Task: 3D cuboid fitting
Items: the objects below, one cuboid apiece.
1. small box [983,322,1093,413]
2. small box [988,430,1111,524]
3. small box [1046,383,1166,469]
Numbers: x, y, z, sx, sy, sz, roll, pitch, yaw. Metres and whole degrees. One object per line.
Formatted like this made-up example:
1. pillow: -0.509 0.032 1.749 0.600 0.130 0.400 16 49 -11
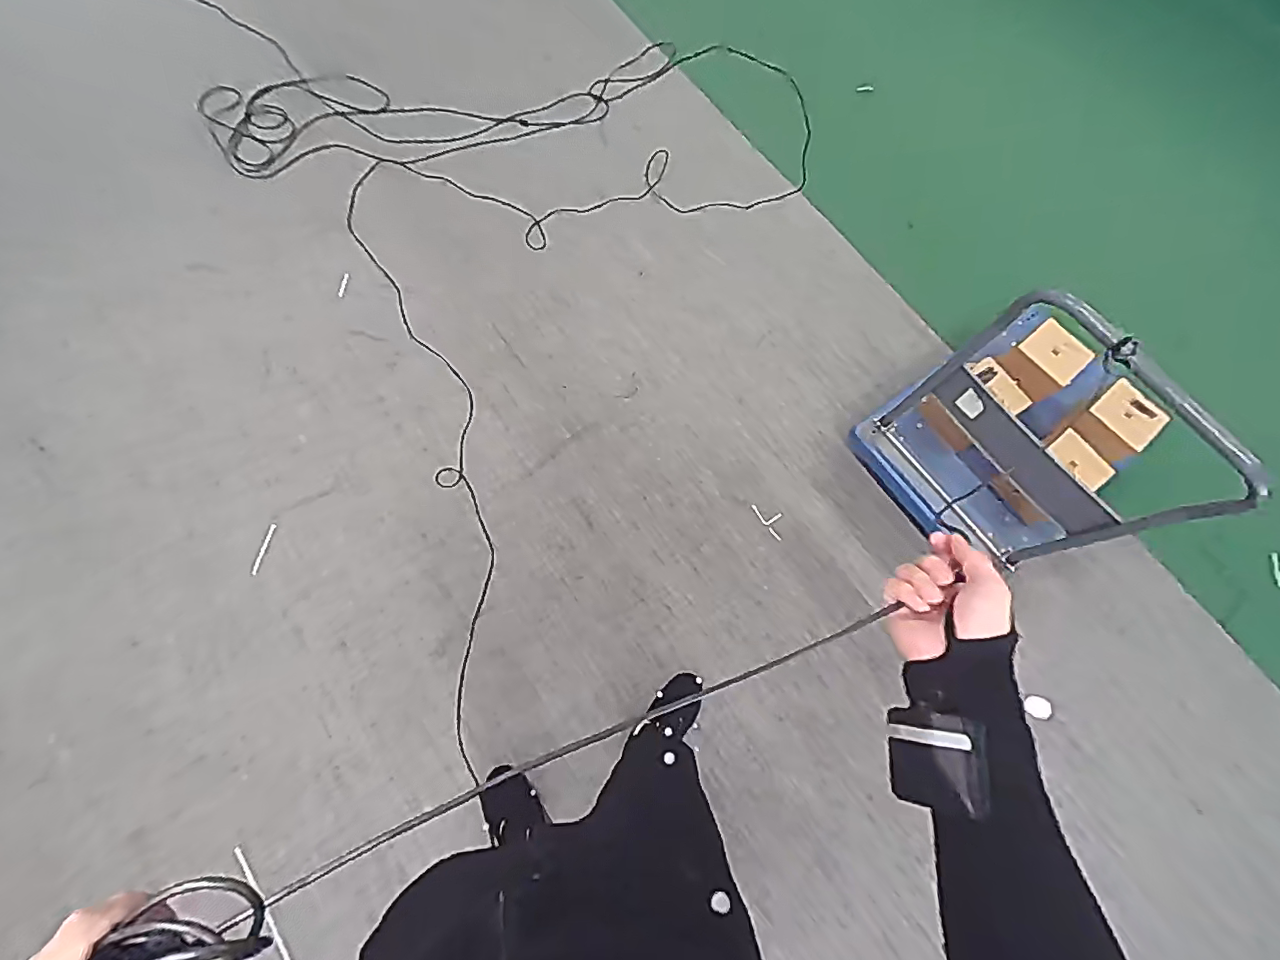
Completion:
1. small box: 1.176 -0.330 1.617 0.179 0.176 0.168 -36 78 -17
2. small box: 1.115 -0.003 1.489 0.179 0.176 0.168 -32 76 -15
3. small box: 1.335 -0.142 1.563 0.179 0.176 0.168 -36 76 -16
